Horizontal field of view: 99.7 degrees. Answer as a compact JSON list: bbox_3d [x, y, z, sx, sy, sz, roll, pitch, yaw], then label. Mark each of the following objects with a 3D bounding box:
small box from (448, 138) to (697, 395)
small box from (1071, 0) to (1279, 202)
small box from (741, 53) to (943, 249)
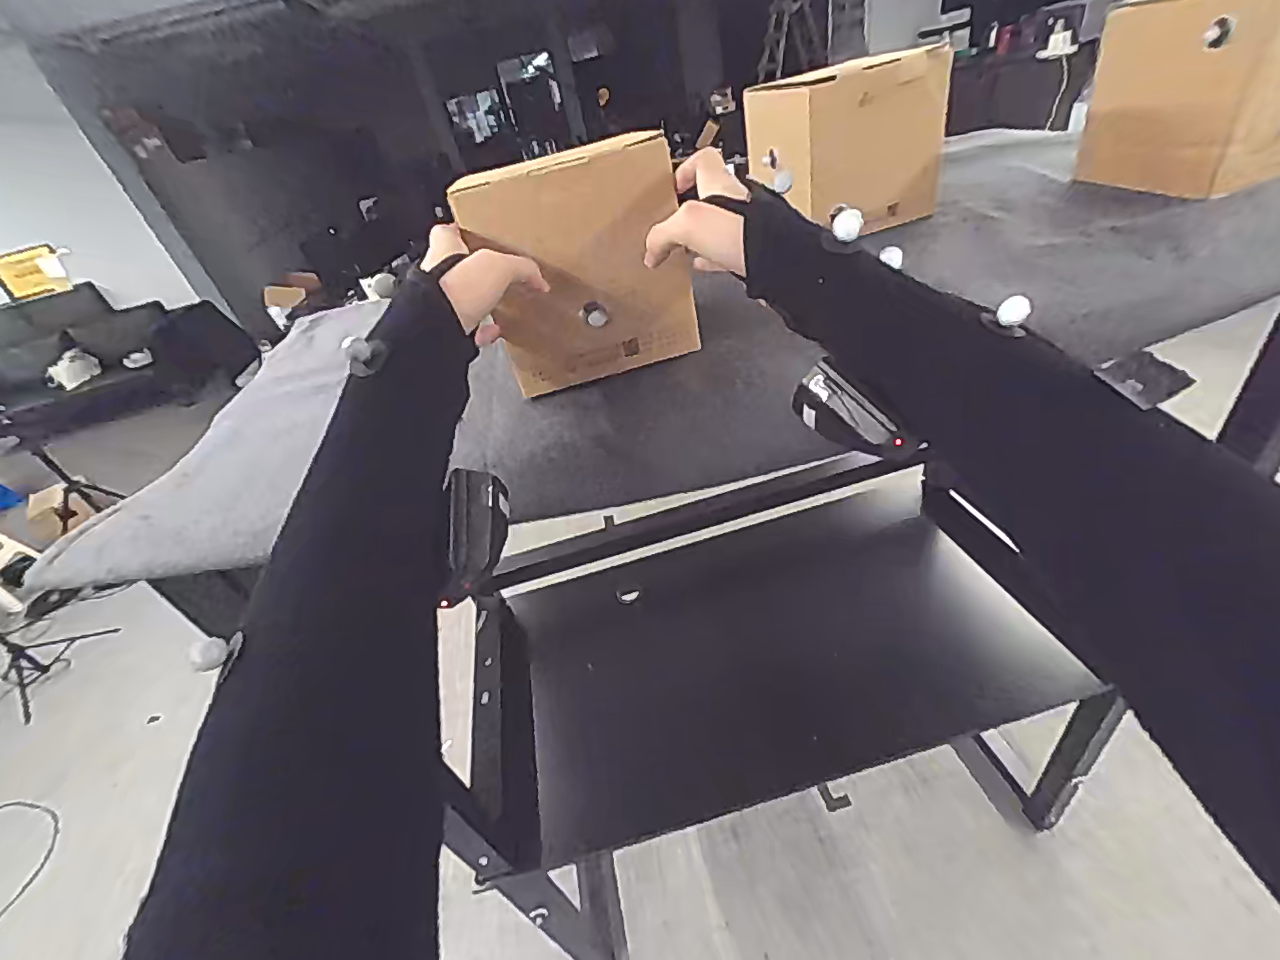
[{"bbox_3d":[-0.055,-0.199,0.501,0.168,0.176,0.179,-16,33,-1],"label":"small box"},{"bbox_3d":[0.592,-0.396,0.547,0.168,0.176,0.179,-14,36,1],"label":"small box"},{"bbox_3d":[0.244,-0.406,0.681,0.168,0.176,0.179,-18,35,-5],"label":"small box"}]
